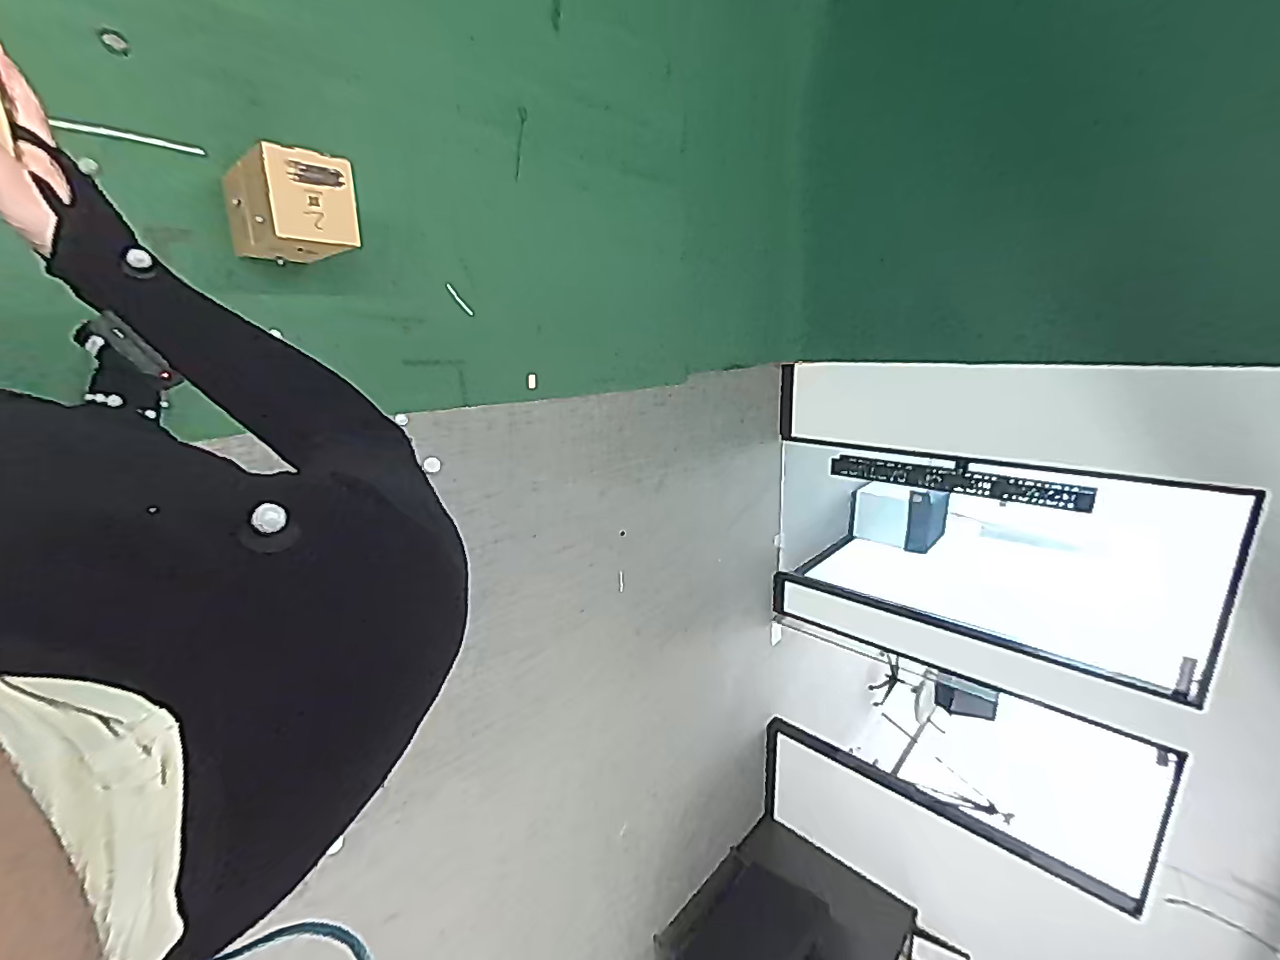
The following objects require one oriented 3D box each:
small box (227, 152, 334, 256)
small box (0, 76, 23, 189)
[{"bbox_3d":[-0.853,-0.642,1.281,0.168,0.176,0.179,-14,110,-45],"label":"small box"},{"bbox_3d":[-0.578,-0.323,0.376,0.168,0.176,0.179,-17,113,-45],"label":"small box"}]
